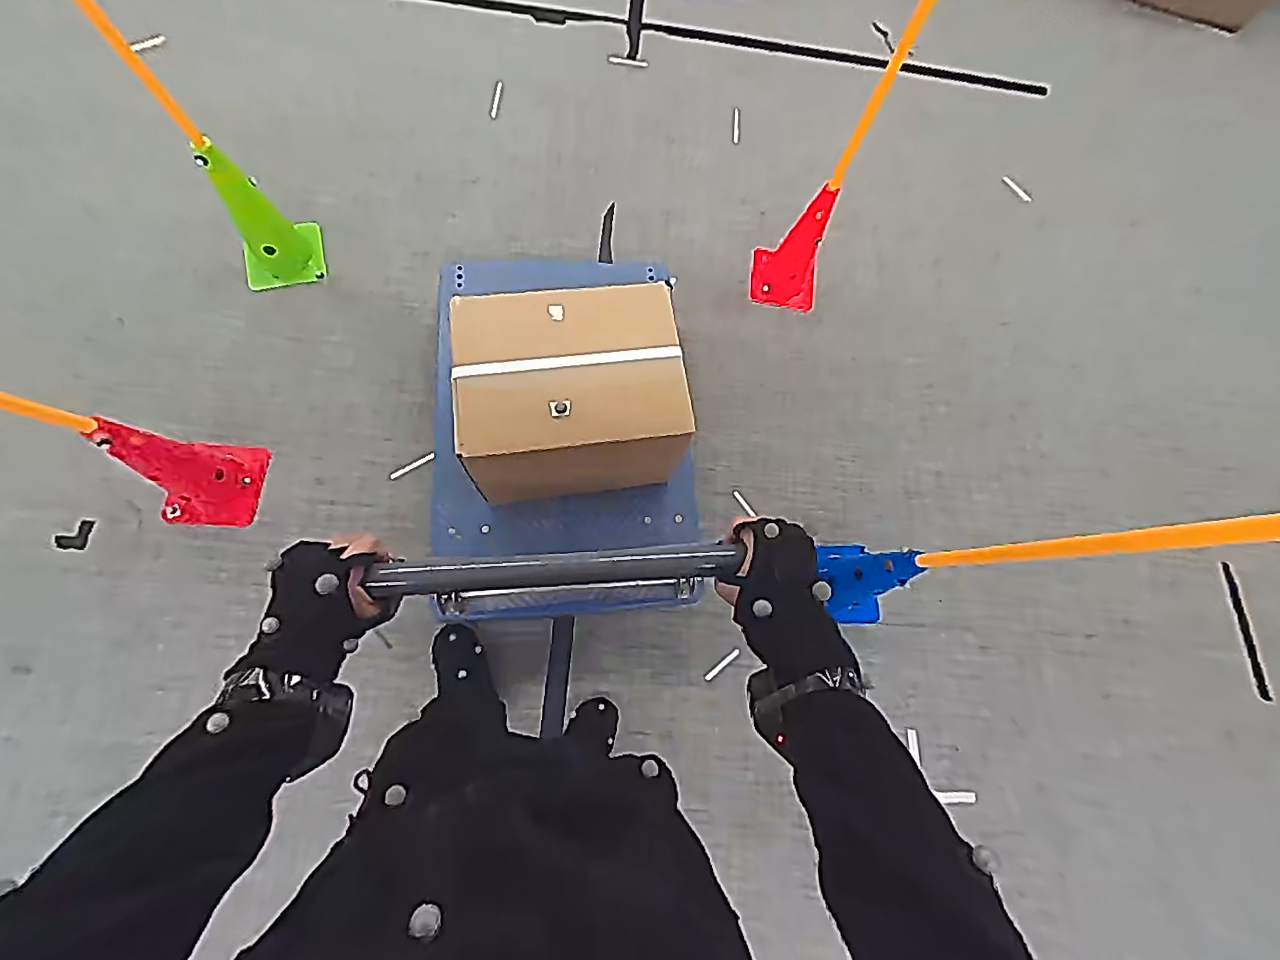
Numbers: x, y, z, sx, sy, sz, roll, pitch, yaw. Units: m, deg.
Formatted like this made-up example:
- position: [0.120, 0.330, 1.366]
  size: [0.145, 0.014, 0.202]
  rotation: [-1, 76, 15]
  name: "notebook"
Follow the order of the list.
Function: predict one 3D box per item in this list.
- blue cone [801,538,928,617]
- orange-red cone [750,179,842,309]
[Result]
- position: [0.529, 0.200, 1.229]
  size: [0.193, 0.380, 0.192]
  rotation: [2, 71, -6]
  name: "blue cone"
- position: [0.460, -0.671, 1.487]
  size: [0.199, 0.360, 0.198]
  rotation: [12, 72, -4]
  name: "orange-red cone"
